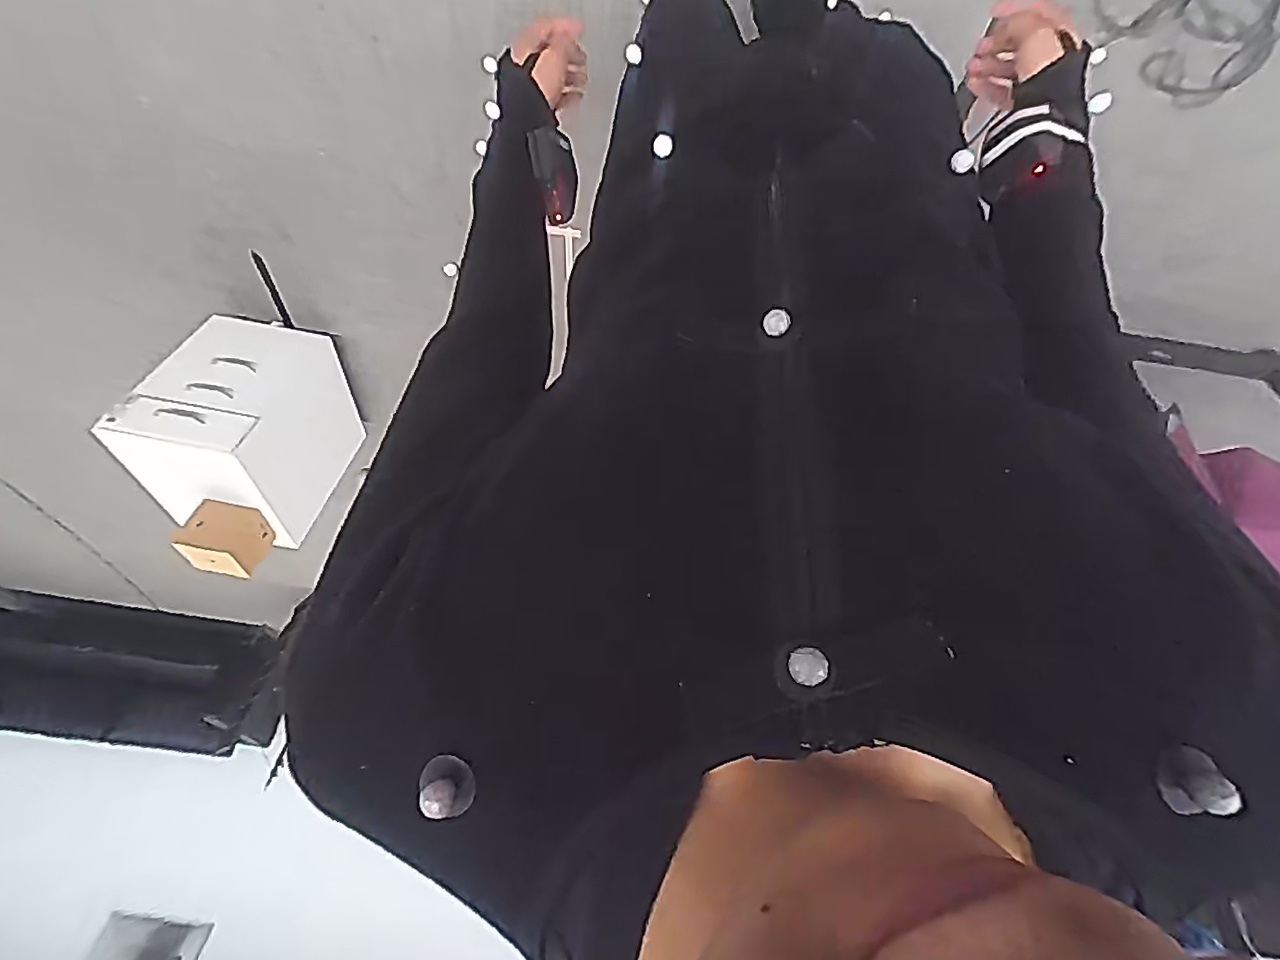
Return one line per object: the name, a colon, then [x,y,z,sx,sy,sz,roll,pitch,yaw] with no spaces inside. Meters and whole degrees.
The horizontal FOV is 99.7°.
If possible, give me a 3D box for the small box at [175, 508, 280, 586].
small box: [-1.300,0.210,1.718,0.179,0.176,0.168,11,141,-3]
